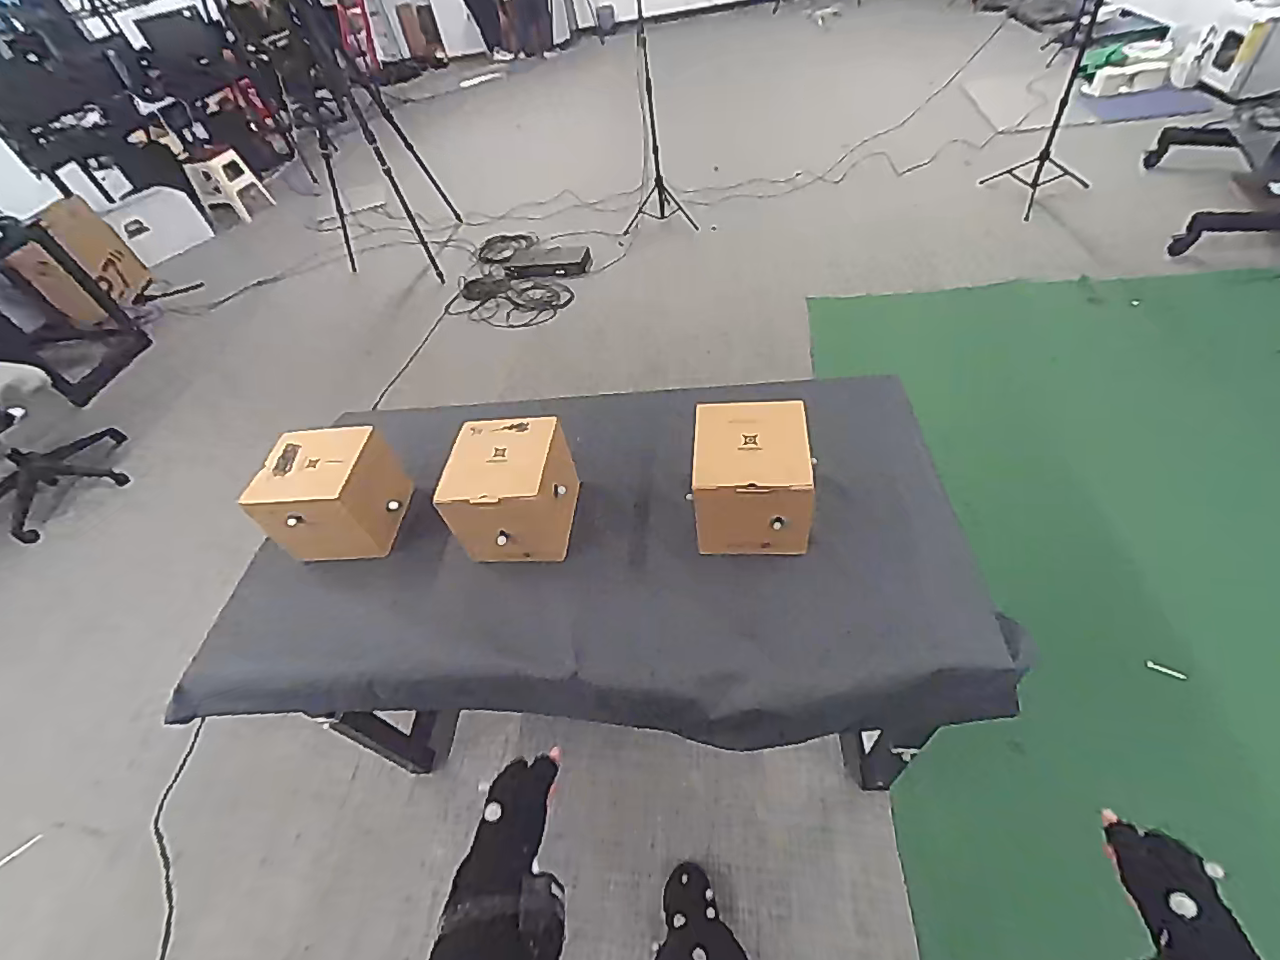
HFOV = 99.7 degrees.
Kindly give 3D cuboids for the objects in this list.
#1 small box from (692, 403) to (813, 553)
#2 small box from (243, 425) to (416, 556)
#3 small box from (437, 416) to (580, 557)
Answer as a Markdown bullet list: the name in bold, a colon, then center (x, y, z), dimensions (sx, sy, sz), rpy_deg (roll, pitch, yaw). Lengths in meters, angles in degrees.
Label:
- **small box**: center (0.173, 0.000, 0.849), dimensions (0.168, 0.176, 0.179), rpy_deg (0, 48, 9)
- **small box**: center (-0.533, 0.023, 0.957), dimensions (0.179, 0.176, 0.168), rpy_deg (-3, 49, 6)
- **small box**: center (-0.205, 0.017, 0.903), dimensions (0.168, 0.176, 0.179), rpy_deg (-2, 49, 9)
